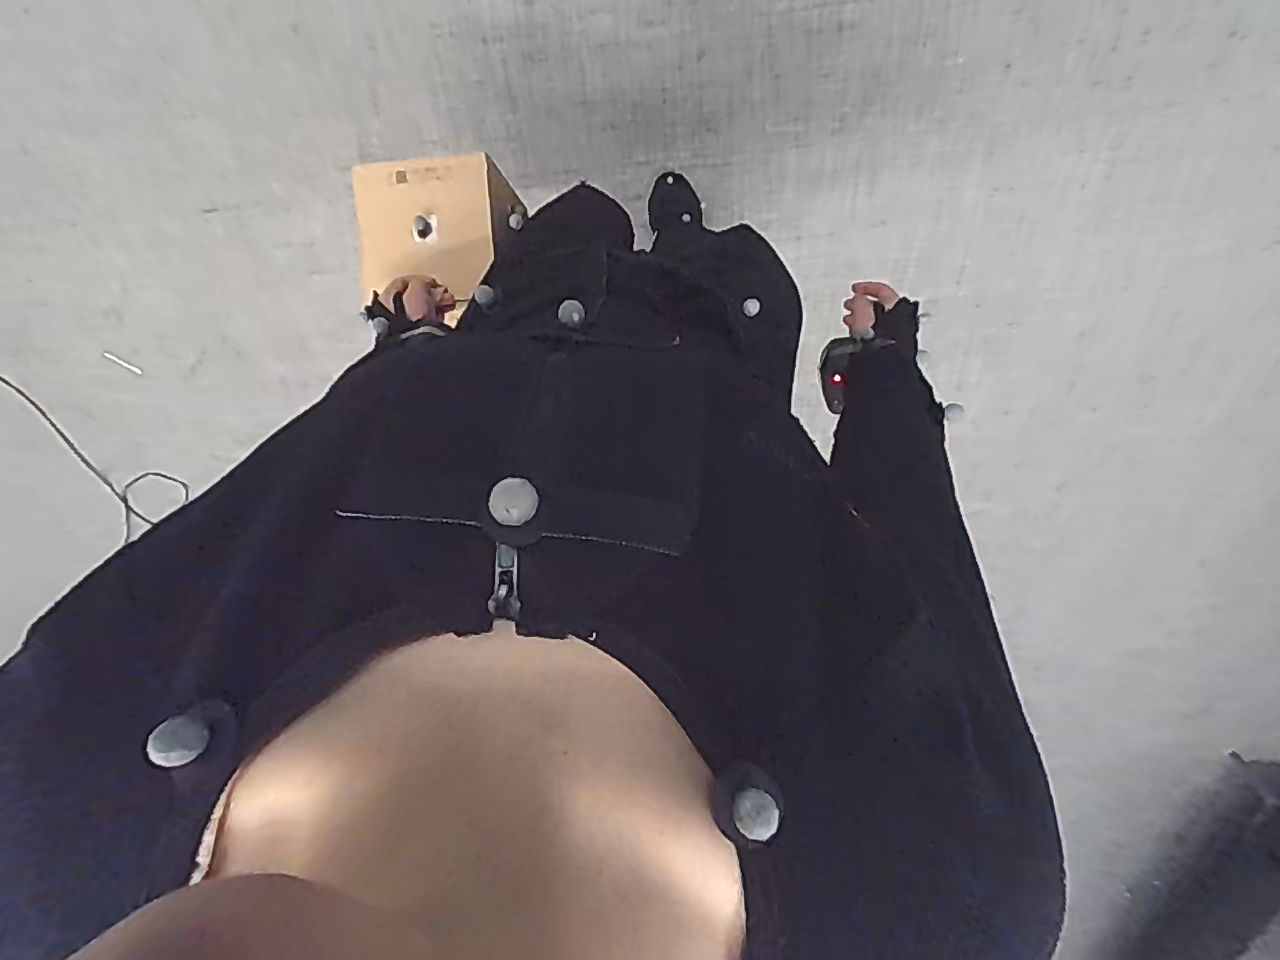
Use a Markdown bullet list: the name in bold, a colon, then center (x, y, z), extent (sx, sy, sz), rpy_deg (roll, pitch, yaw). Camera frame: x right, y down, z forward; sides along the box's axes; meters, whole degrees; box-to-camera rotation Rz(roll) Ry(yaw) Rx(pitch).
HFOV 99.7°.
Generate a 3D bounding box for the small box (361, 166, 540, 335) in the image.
- **small box**: center (-0.243, -0.300, 0.723), extent (0.168, 0.179, 0.176), rpy_deg (-4, 97, 5)
